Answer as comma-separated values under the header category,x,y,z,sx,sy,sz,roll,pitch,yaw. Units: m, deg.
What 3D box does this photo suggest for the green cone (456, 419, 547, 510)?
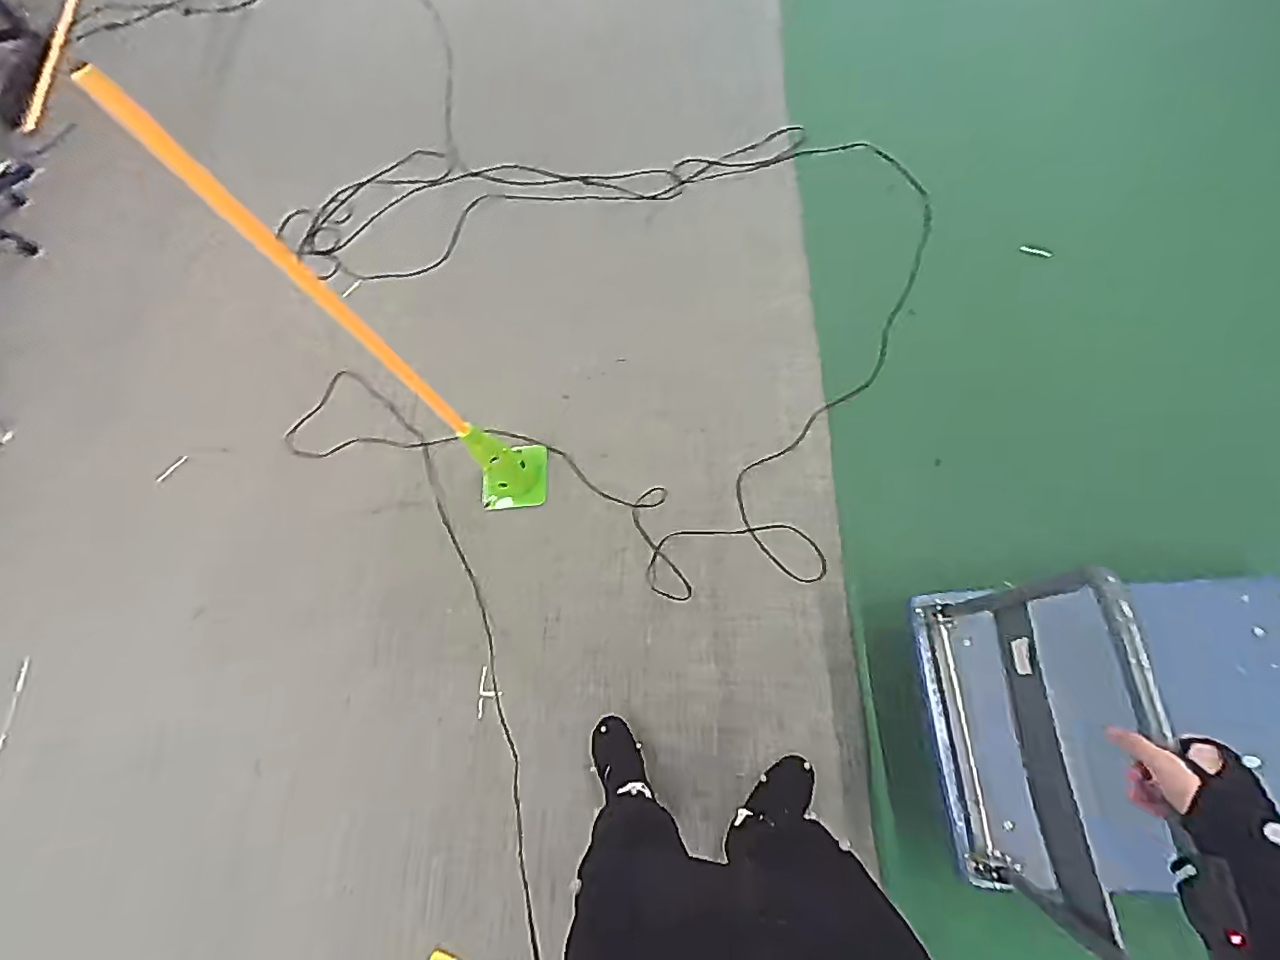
category,x,y,z,sx,sy,sz,roll,pitch,yaw
green cone,-0.411,-0.068,1.515,0.200,0.368,0.202,-6,69,7
